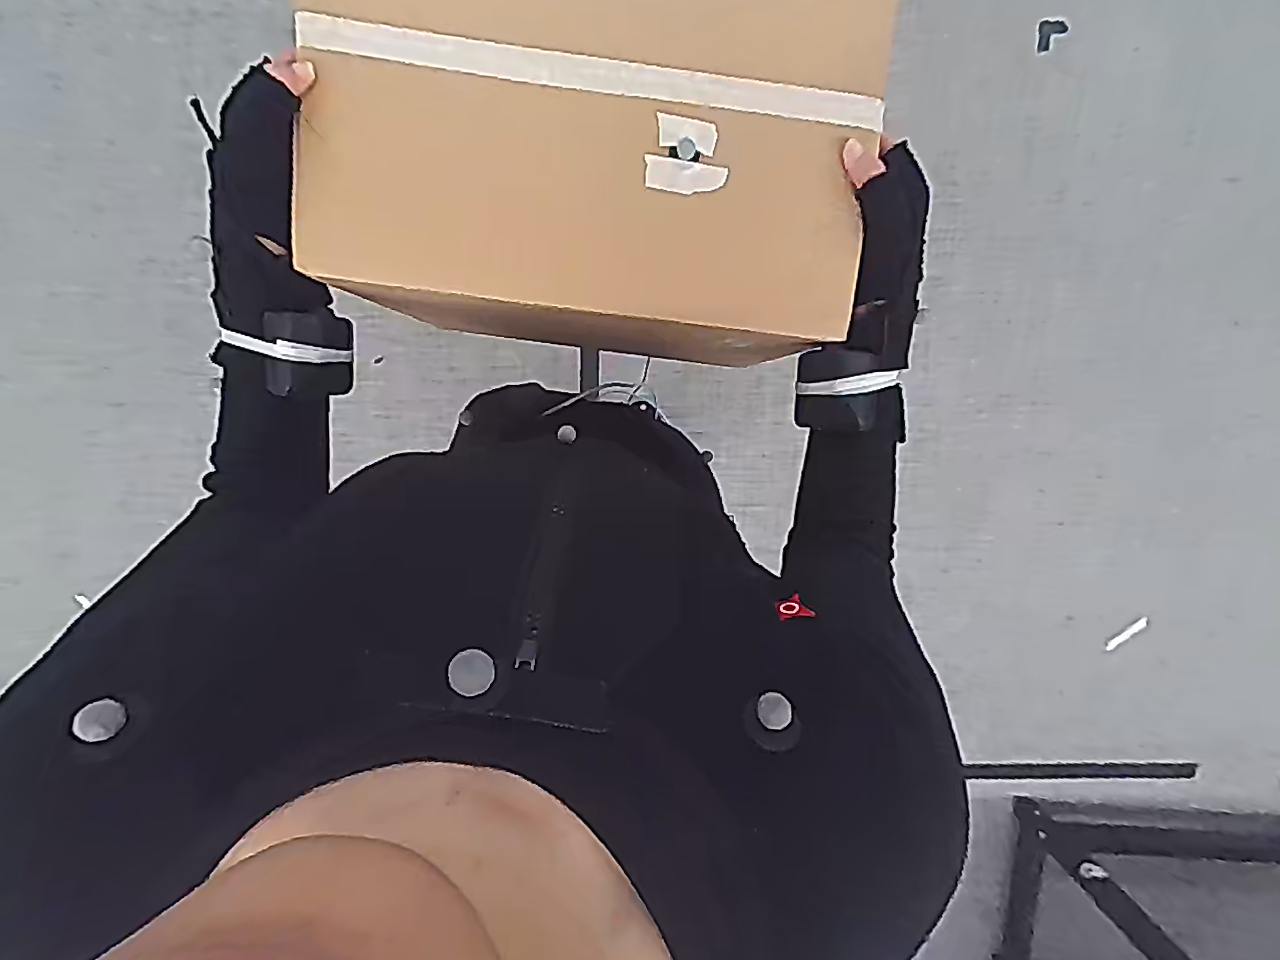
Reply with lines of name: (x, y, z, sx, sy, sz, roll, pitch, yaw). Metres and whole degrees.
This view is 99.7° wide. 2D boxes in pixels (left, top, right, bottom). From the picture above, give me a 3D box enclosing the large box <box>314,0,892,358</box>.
large box: (-0.035, -0.305, 0.532, 0.408, 0.320, 0.320, 6, 99, -4)
